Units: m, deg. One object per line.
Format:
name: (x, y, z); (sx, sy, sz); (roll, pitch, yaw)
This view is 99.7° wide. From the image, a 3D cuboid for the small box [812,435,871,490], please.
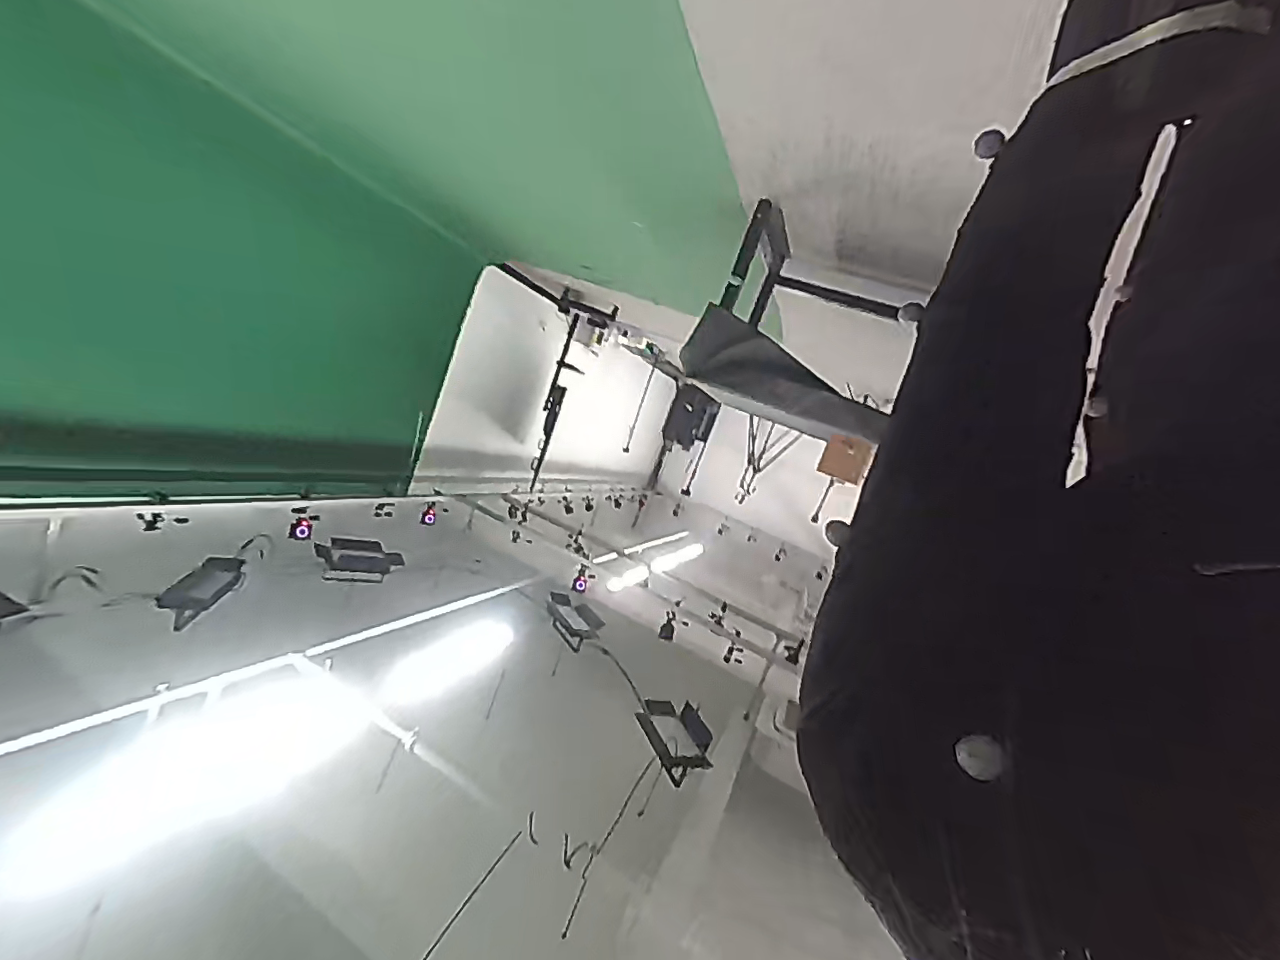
small box: (0.813, -0.071, 2.168); (0.168, 0.176, 0.179); (23, -174, 26)
